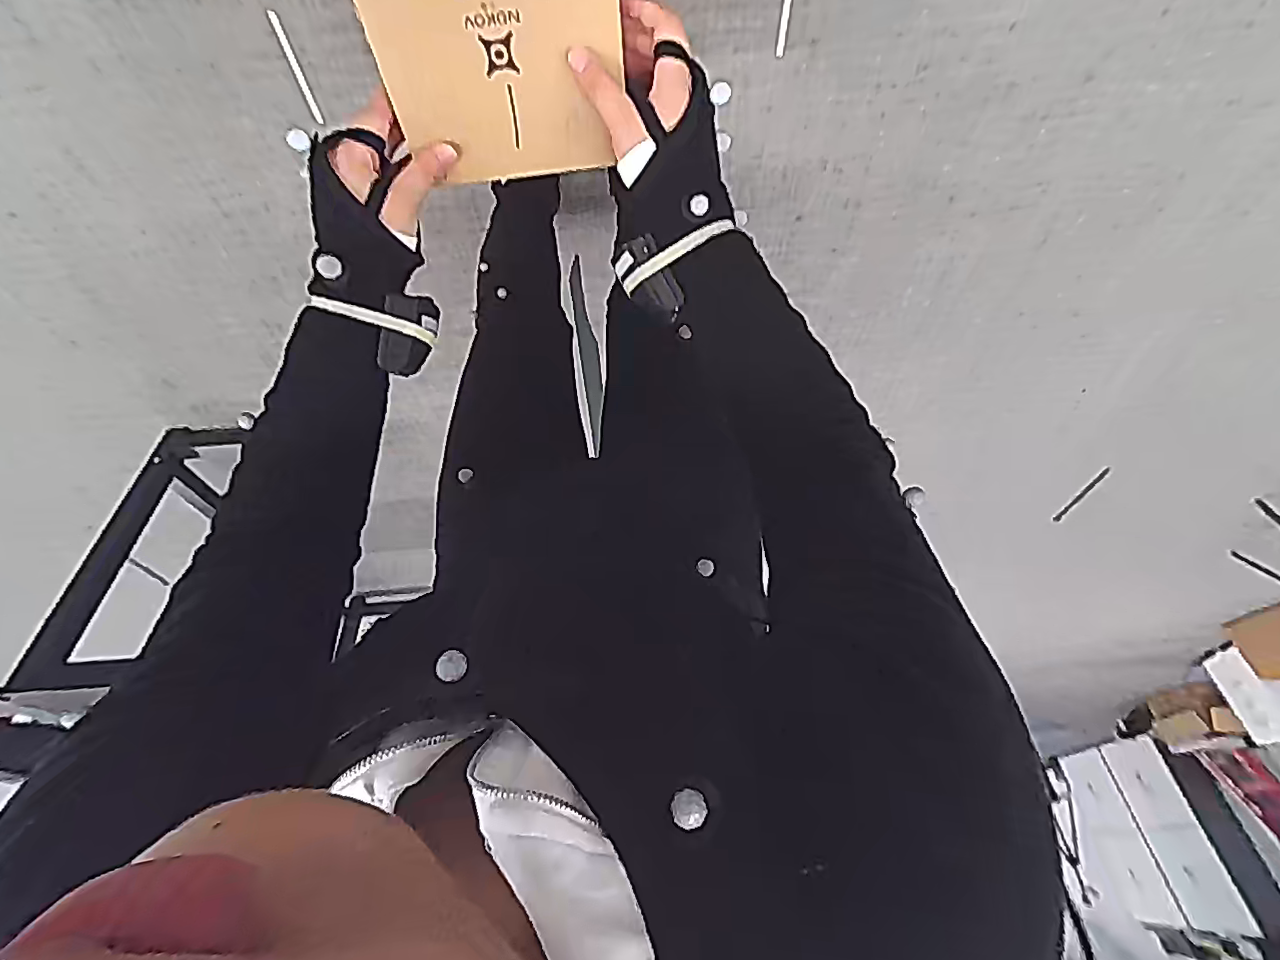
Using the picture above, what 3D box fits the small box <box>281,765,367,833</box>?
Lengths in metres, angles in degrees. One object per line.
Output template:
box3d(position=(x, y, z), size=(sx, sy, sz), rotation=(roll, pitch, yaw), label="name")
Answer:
box3d(position=(-1.005, 1.029, 1.744), size=(0.179, 0.176, 0.168), rotation=(-2, 142, -2), label="small box")

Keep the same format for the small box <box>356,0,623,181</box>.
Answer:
box3d(position=(-0.108, -0.361, 0.407), size=(0.168, 0.176, 0.179), rotation=(-8, 144, -2), label="small box")
